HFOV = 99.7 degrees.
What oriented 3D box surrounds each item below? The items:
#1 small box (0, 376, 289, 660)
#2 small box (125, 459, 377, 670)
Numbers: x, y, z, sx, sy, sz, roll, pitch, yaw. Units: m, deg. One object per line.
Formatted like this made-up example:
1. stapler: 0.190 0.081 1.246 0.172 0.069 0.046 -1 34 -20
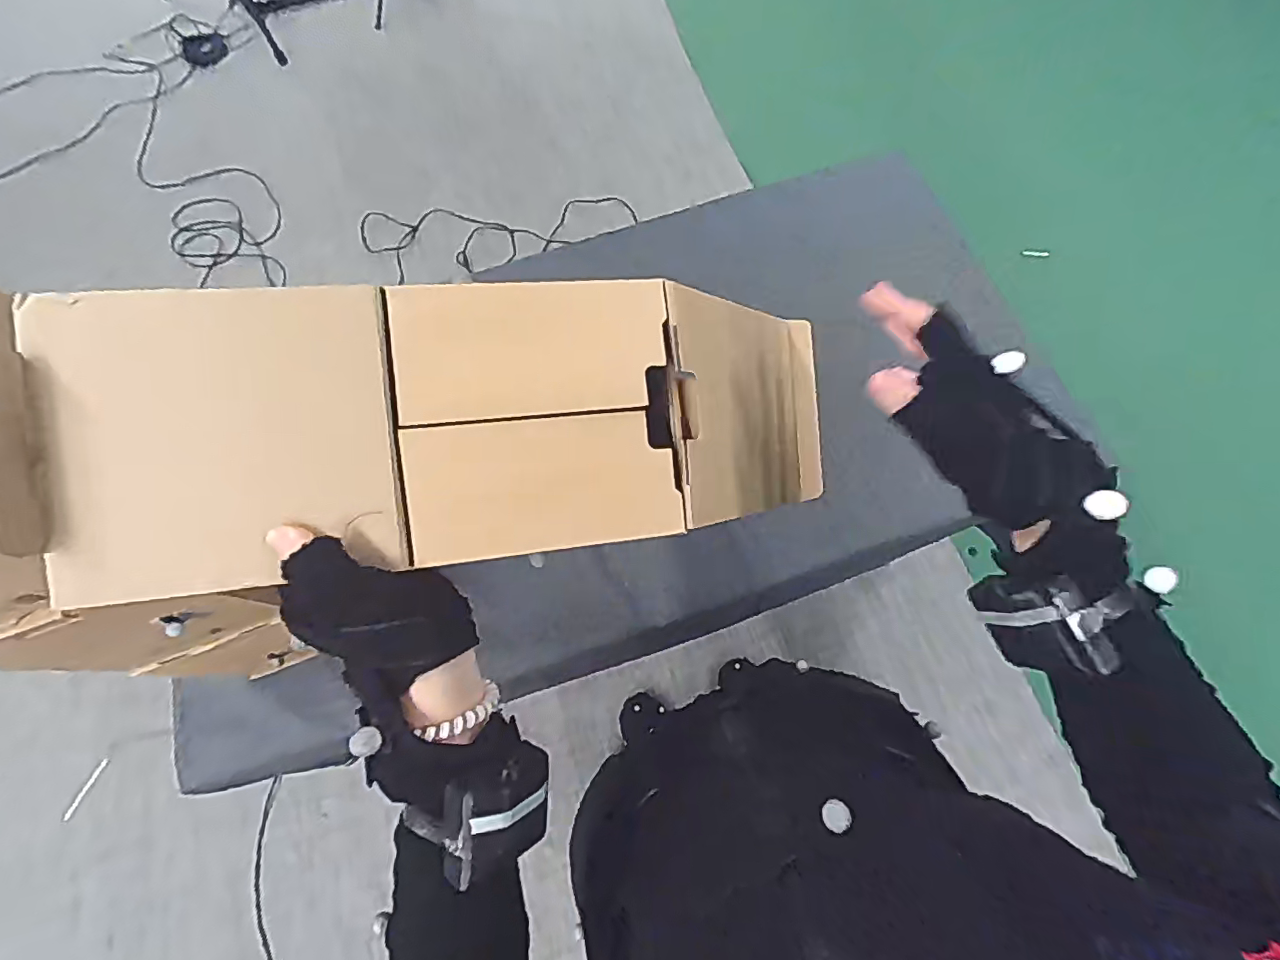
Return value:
1. small box: -0.437 0.046 0.466 0.168 0.176 0.179 -19 70 -5
2. small box: -0.431 0.105 0.618 0.168 0.176 0.179 -20 71 -5
